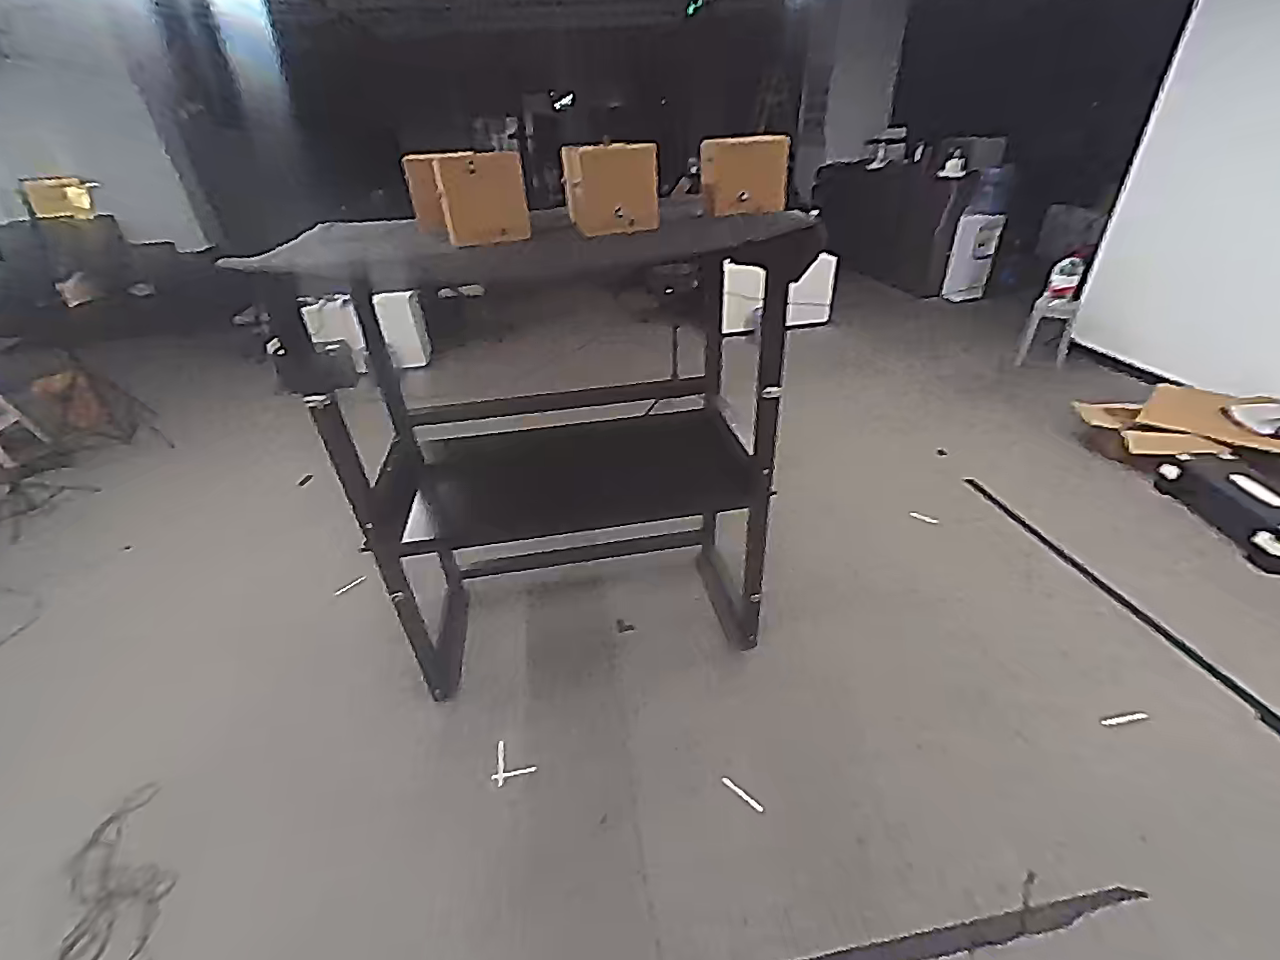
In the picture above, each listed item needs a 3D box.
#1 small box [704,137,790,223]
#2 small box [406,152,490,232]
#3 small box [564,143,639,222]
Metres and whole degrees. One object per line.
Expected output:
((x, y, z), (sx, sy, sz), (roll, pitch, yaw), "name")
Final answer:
((0.248, -0.723, 1.302), (0.168, 0.176, 0.179), (-6, 33, -2), "small box")
((-0.492, -0.750, 1.408), (0.168, 0.176, 0.179), (-10, 35, -9), "small box")
((-0.101, -0.780, 1.420), (0.168, 0.176, 0.179), (-9, 33, -9), "small box")
